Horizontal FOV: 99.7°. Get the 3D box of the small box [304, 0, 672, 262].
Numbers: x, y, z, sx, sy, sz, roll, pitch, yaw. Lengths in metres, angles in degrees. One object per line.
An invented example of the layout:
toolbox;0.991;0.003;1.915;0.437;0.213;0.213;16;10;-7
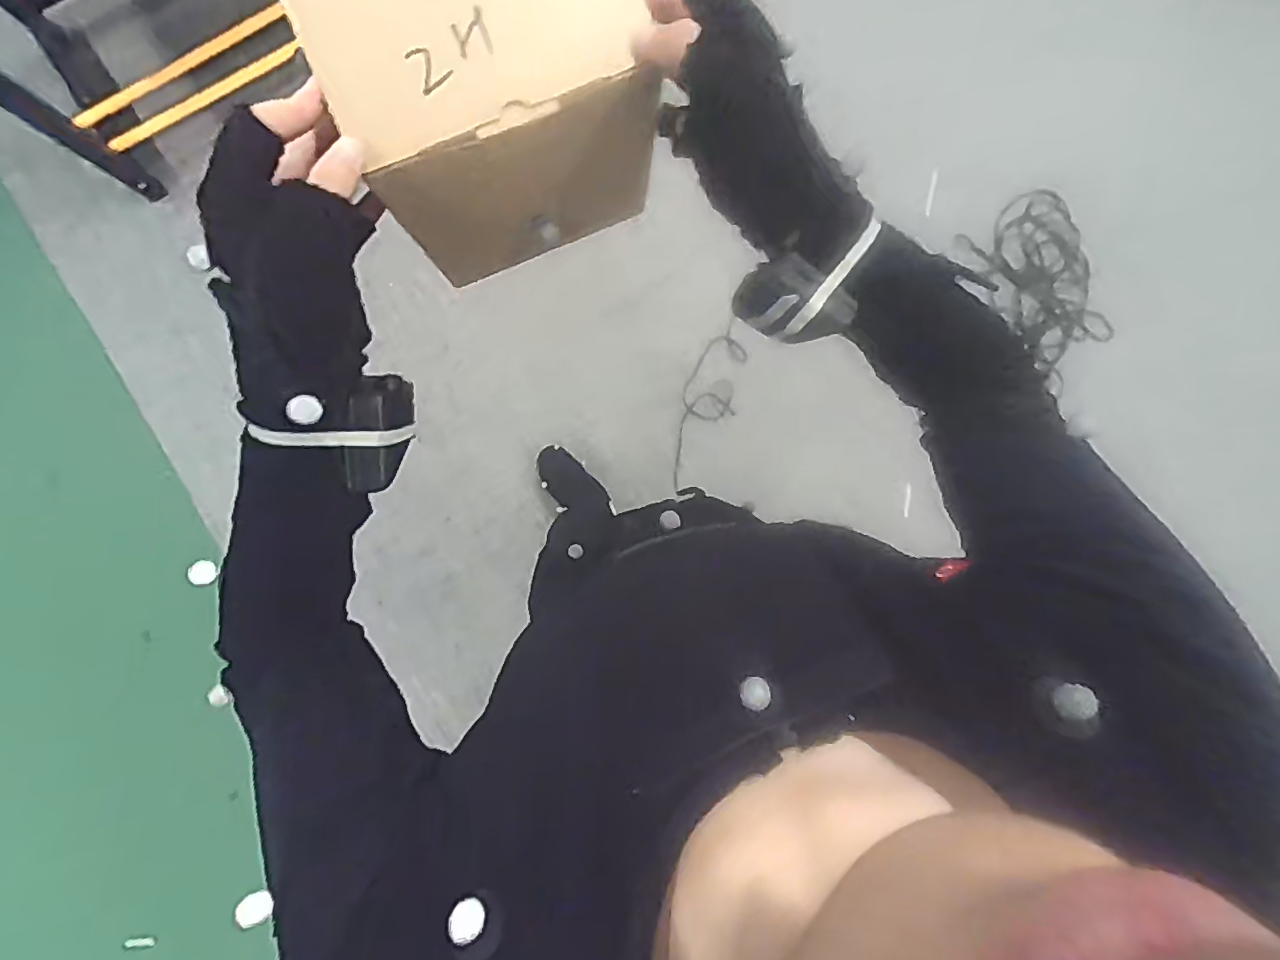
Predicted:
small box;-0.095;-0.273;0.340;0.168;0.176;0.179;-24;92;-2
